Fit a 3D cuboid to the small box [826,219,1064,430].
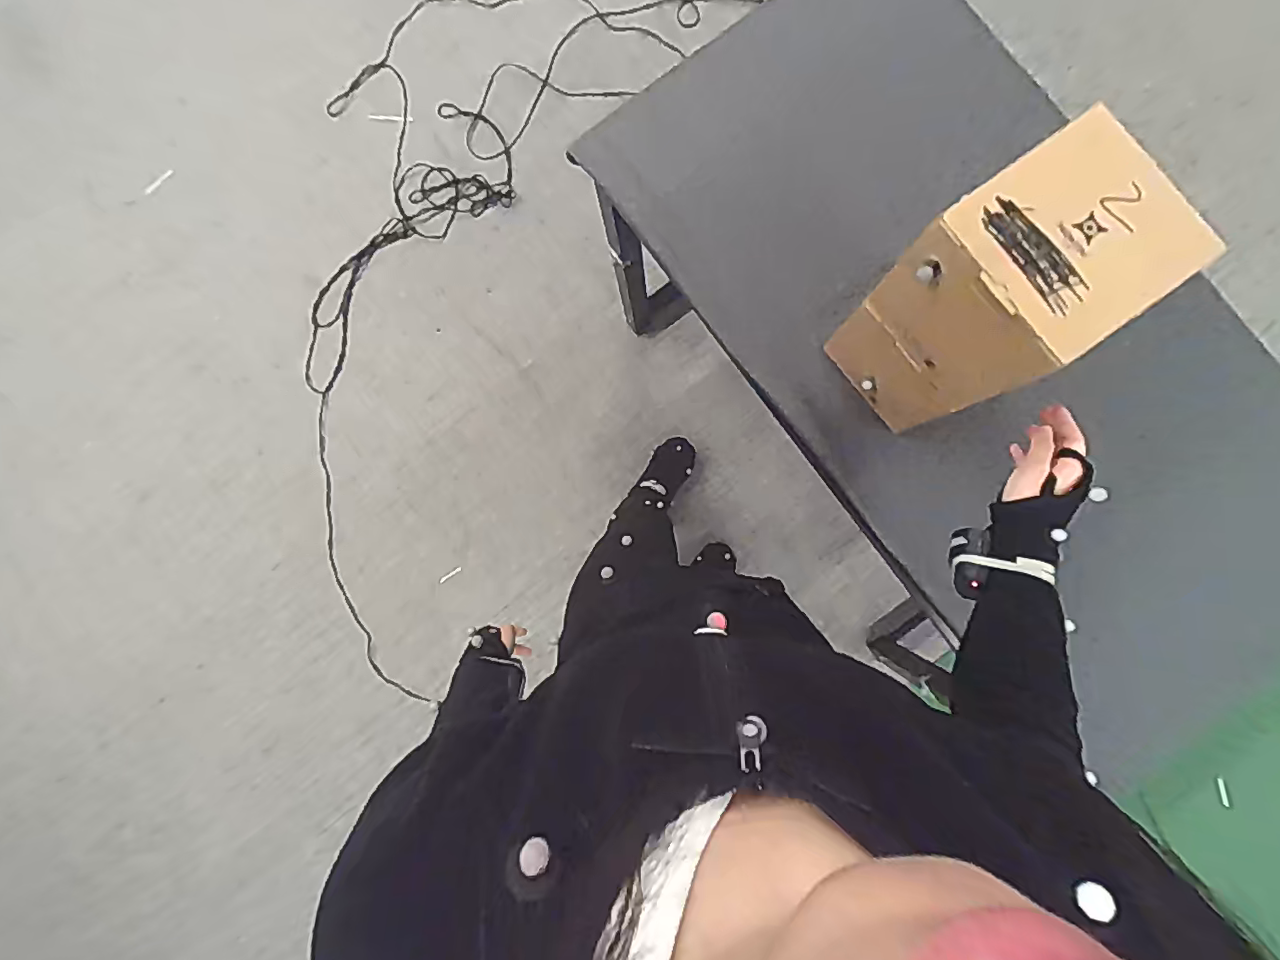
[{"bbox_3d":[0.377,-0.188,0.707,0.179,0.176,0.168,-38,85,-1],"label":"small box"}]
